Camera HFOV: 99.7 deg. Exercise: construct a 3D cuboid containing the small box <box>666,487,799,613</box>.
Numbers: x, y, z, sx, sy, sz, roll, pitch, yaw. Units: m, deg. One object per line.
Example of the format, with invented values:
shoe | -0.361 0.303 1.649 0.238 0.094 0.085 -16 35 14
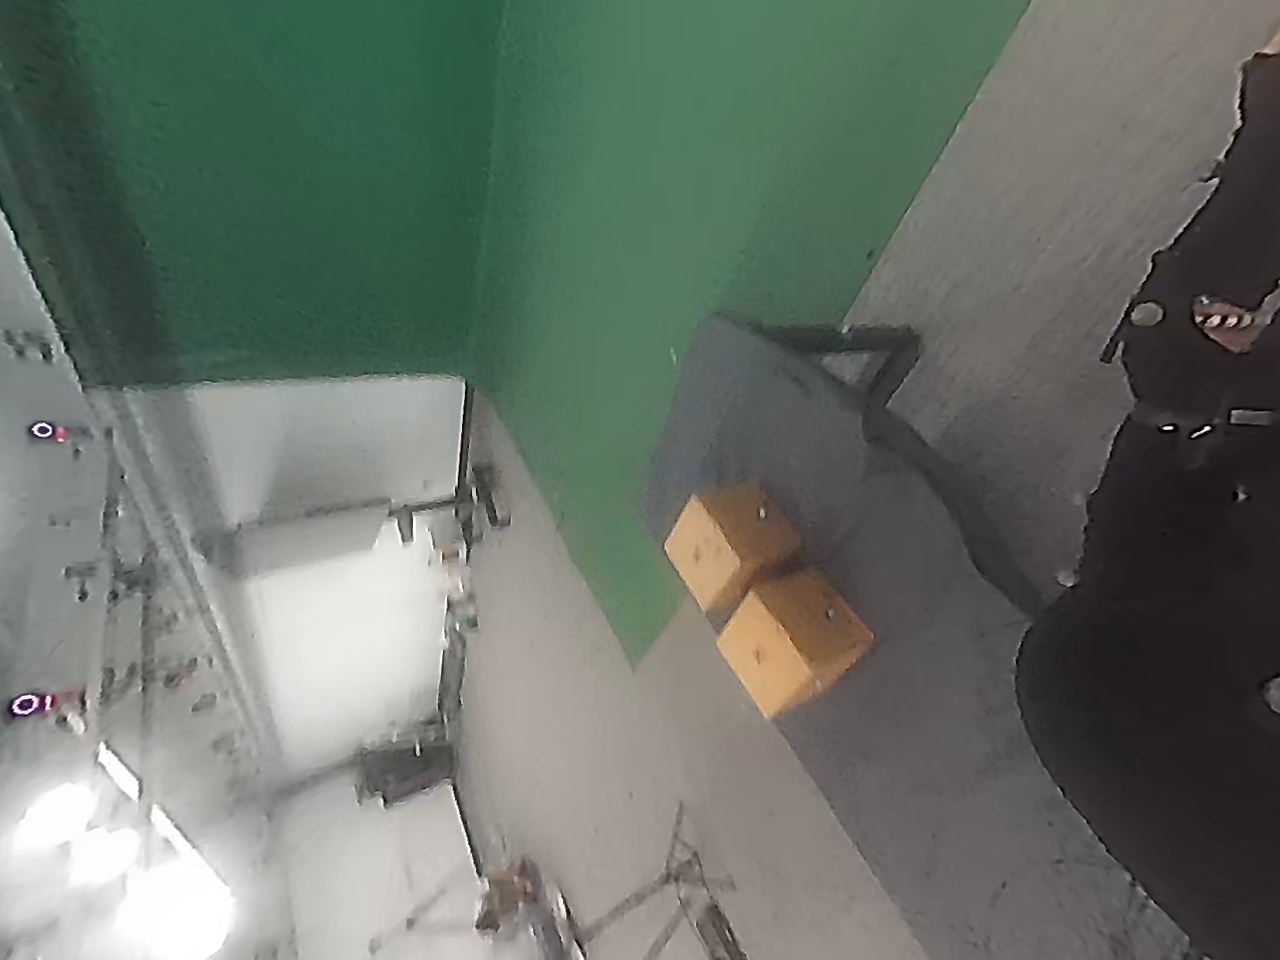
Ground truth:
small box | 0.185 0.138 1.091 0.168 0.176 0.179 56 141 30
